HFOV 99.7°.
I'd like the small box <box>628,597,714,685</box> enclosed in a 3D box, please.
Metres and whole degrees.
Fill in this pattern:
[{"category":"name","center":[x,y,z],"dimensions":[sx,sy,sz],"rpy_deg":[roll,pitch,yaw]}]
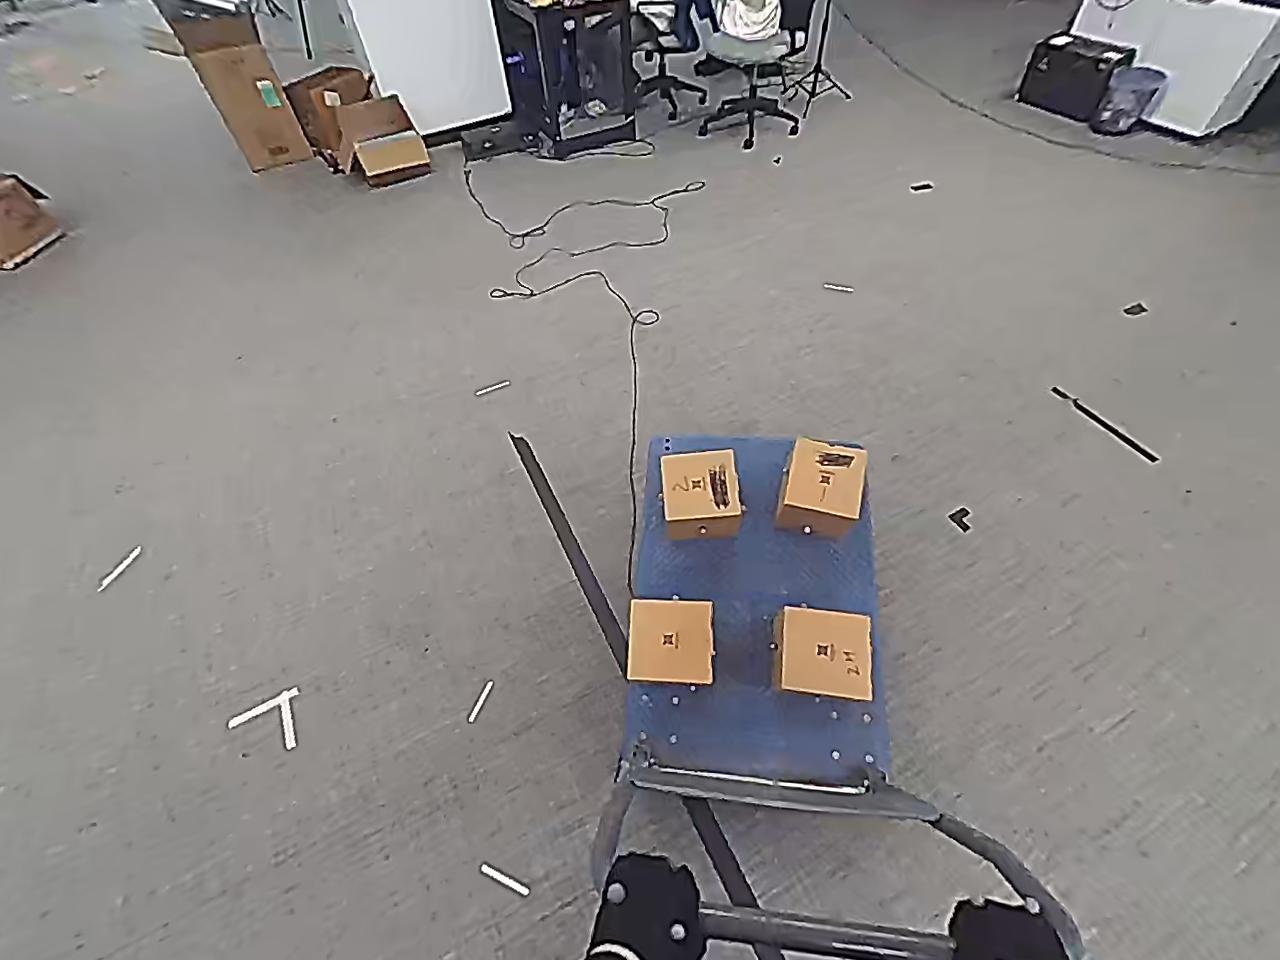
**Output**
[{"category":"small box","center":[0.071,0.362,1.199],"dimensions":[0.179,0.176,0.168],"rpy_deg":[1,67,4]}]

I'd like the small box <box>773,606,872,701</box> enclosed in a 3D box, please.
[{"category":"small box","center":[0.386,0.377,1.163],"dimensions":[0.179,0.176,0.168],"rpy_deg":[6,68,8]}]

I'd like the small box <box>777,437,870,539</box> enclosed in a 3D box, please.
[{"category":"small box","center":[0.438,0.024,1.308],"dimensions":[0.168,0.176,0.179],"rpy_deg":[13,70,11]}]
